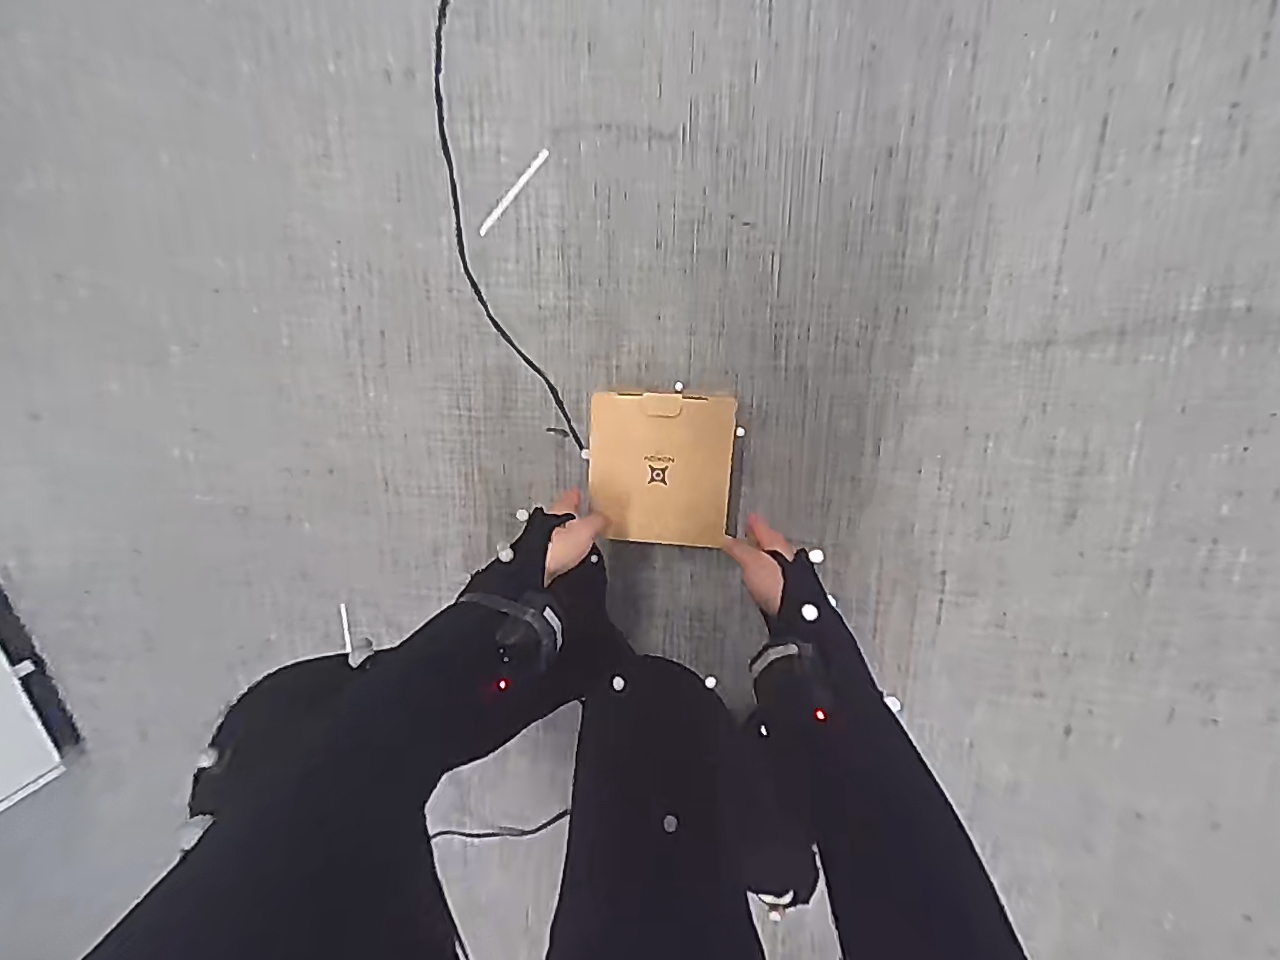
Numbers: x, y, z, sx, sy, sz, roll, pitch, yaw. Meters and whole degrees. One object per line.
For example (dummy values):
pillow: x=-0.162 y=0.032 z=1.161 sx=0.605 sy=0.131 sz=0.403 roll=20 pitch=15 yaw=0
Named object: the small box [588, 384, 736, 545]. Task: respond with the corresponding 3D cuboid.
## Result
small box: x=0.033 y=-0.030 z=0.702 sx=0.168 sy=0.176 sz=0.179 roll=4 pitch=101 yaw=6
